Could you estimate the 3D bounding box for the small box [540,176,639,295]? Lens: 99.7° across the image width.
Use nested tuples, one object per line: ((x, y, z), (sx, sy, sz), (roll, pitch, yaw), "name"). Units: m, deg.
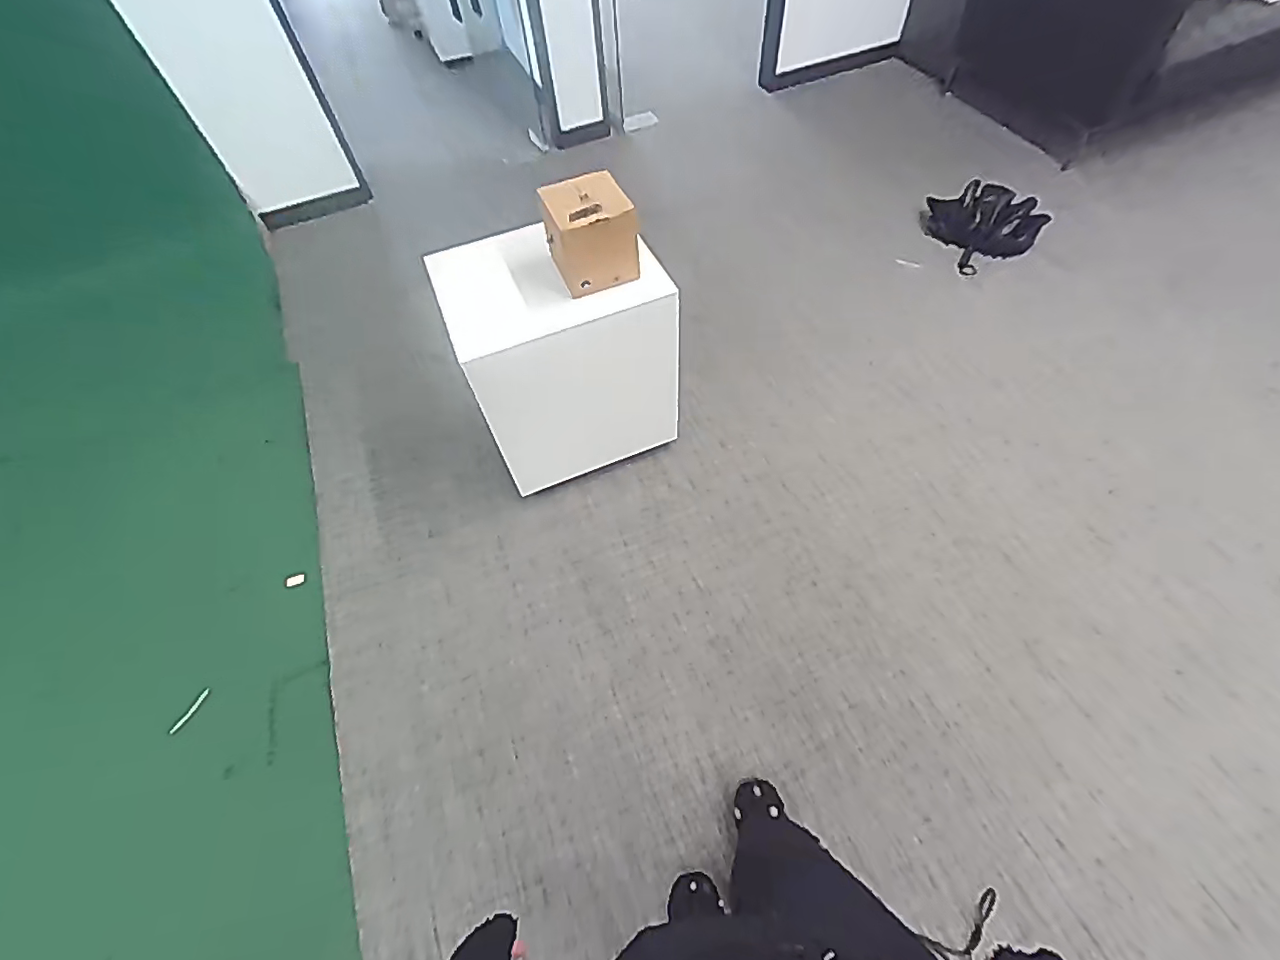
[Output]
((-0.108, -0.539, 1.213), (0.168, 0.176, 0.179), (-20, 58, -9), "small box")
